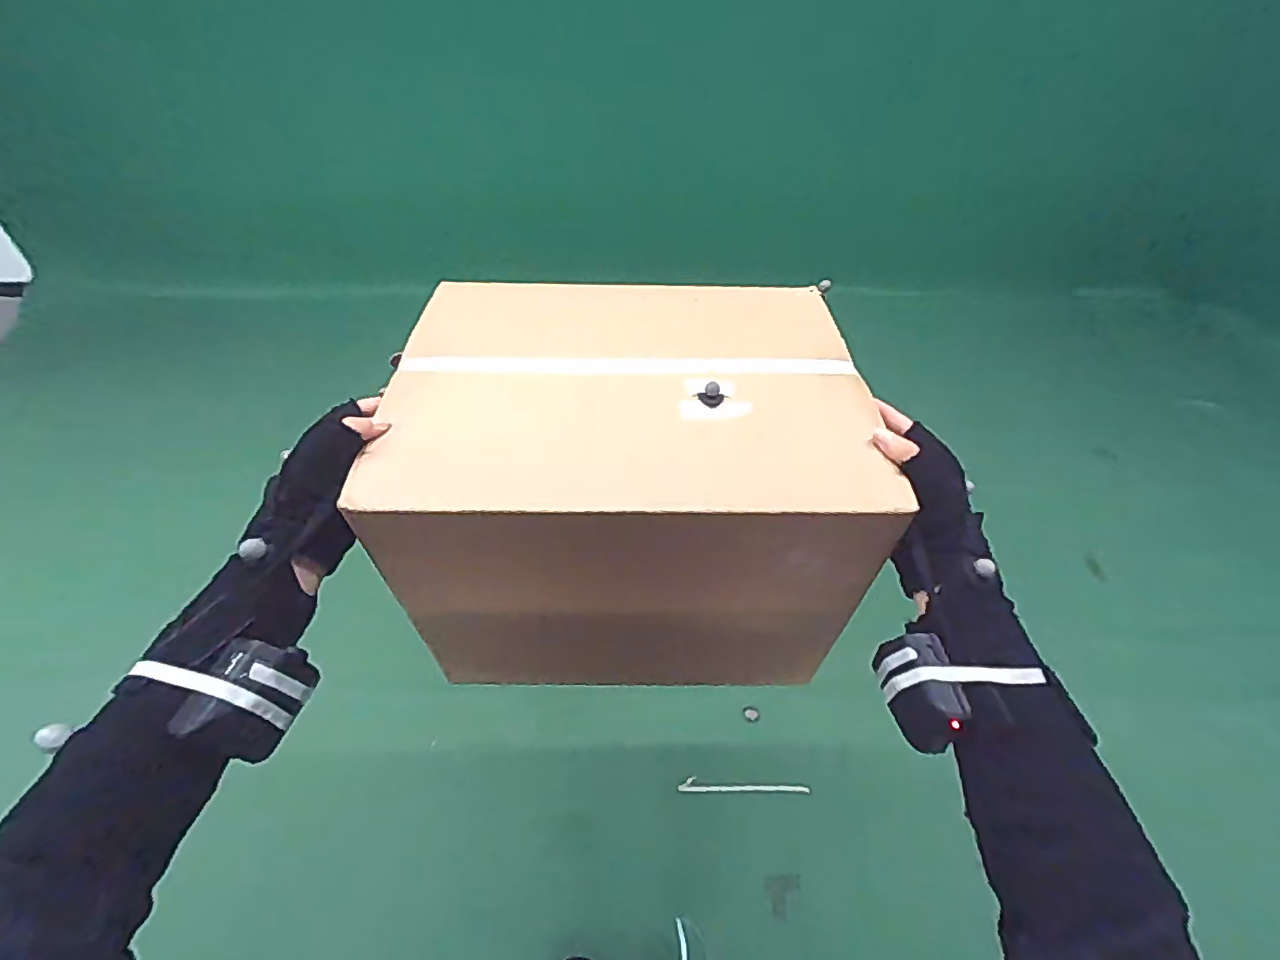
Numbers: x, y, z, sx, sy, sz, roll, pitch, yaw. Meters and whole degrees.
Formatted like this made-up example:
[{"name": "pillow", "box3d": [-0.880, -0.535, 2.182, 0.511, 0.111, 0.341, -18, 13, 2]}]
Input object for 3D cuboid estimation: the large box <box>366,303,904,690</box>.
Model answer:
[{"name": "large box", "box3d": [-0.010, 0.020, 0.600, 0.408, 0.320, 0.320, 1, 48, -2]}]
